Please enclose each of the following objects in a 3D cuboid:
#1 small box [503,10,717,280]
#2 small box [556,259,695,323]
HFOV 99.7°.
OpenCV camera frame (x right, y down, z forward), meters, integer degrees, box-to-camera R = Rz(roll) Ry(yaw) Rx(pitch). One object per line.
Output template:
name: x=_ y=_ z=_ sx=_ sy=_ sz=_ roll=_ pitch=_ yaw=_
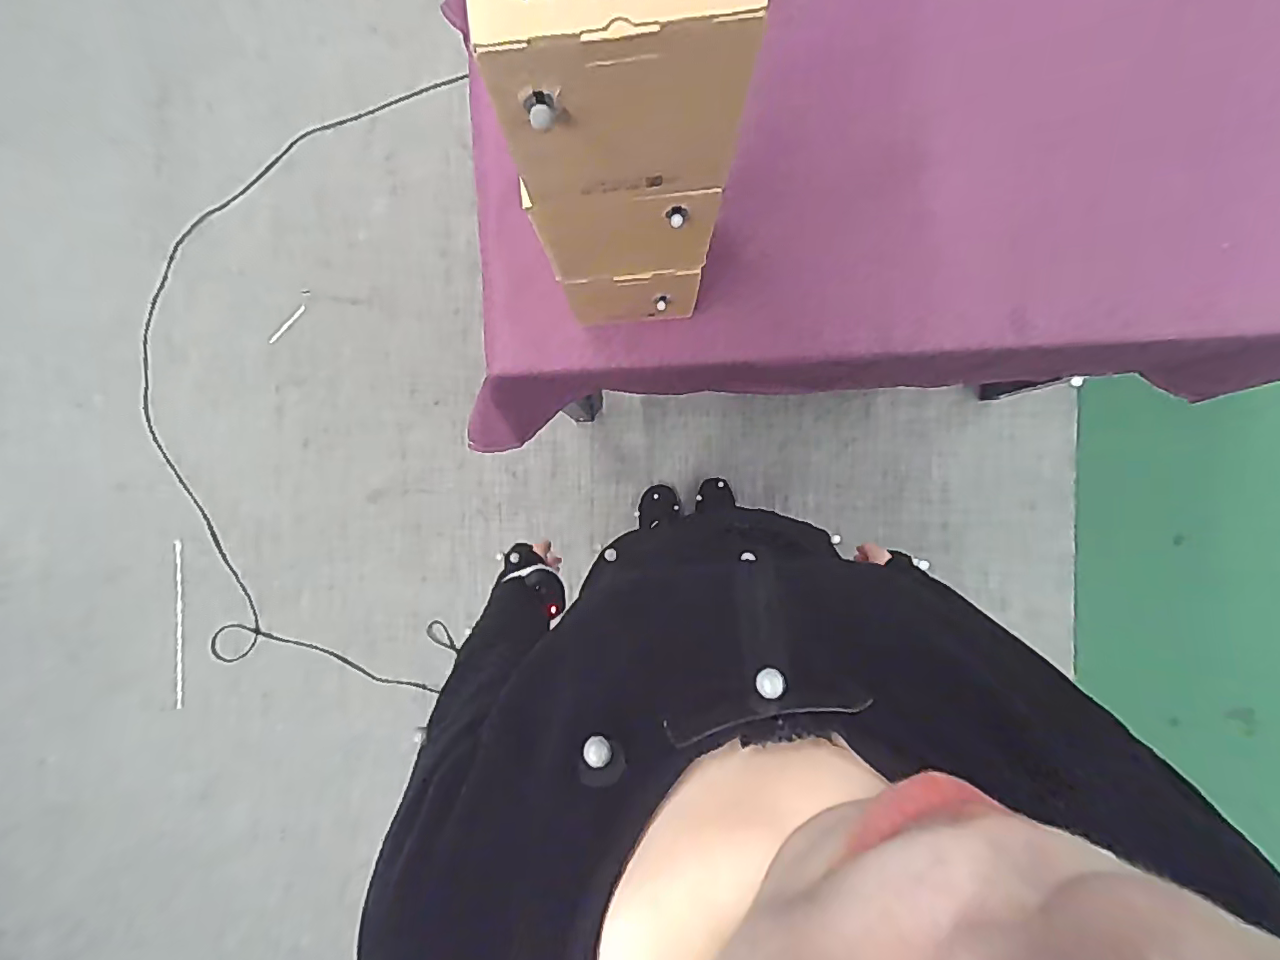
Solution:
small box: x=-0.026 y=-0.318 z=0.548 sx=0.179 sy=0.176 sz=0.168 roll=-6 pitch=89 yaw=-1
small box: x=-0.020 y=-0.314 z=0.710 sx=0.168 sy=0.176 sz=0.179 roll=-4 pitch=88 yaw=0
